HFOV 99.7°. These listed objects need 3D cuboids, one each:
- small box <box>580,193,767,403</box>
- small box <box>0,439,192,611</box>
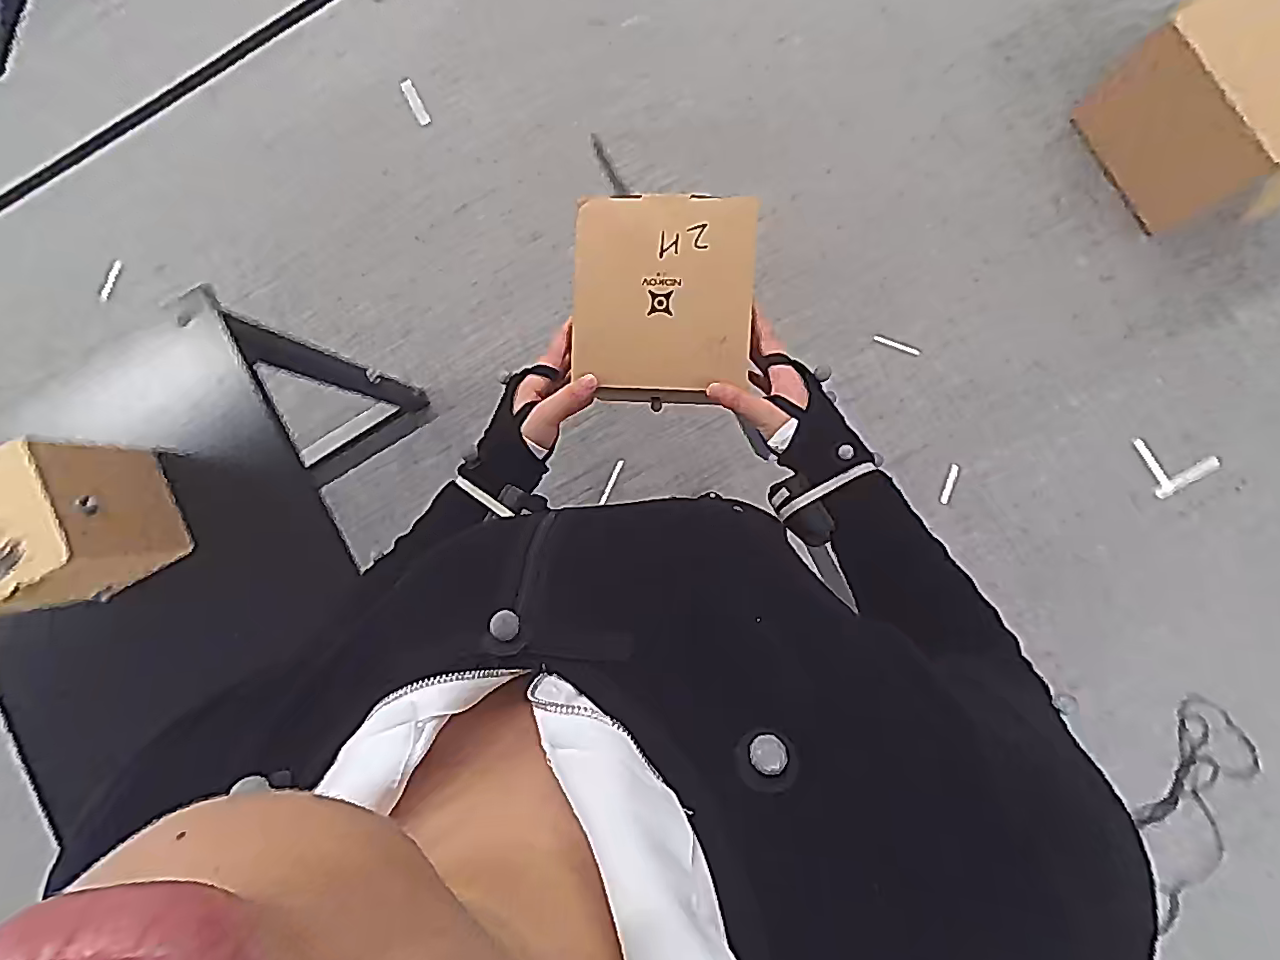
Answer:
[{"bbox_3d":[0.036,-0.179,0.581,0.168,0.176,0.179,4,93,4],"label":"small box"},{"bbox_3d":[-0.792,0.060,0.760,0.168,0.176,0.179,-27,85,3],"label":"small box"}]
